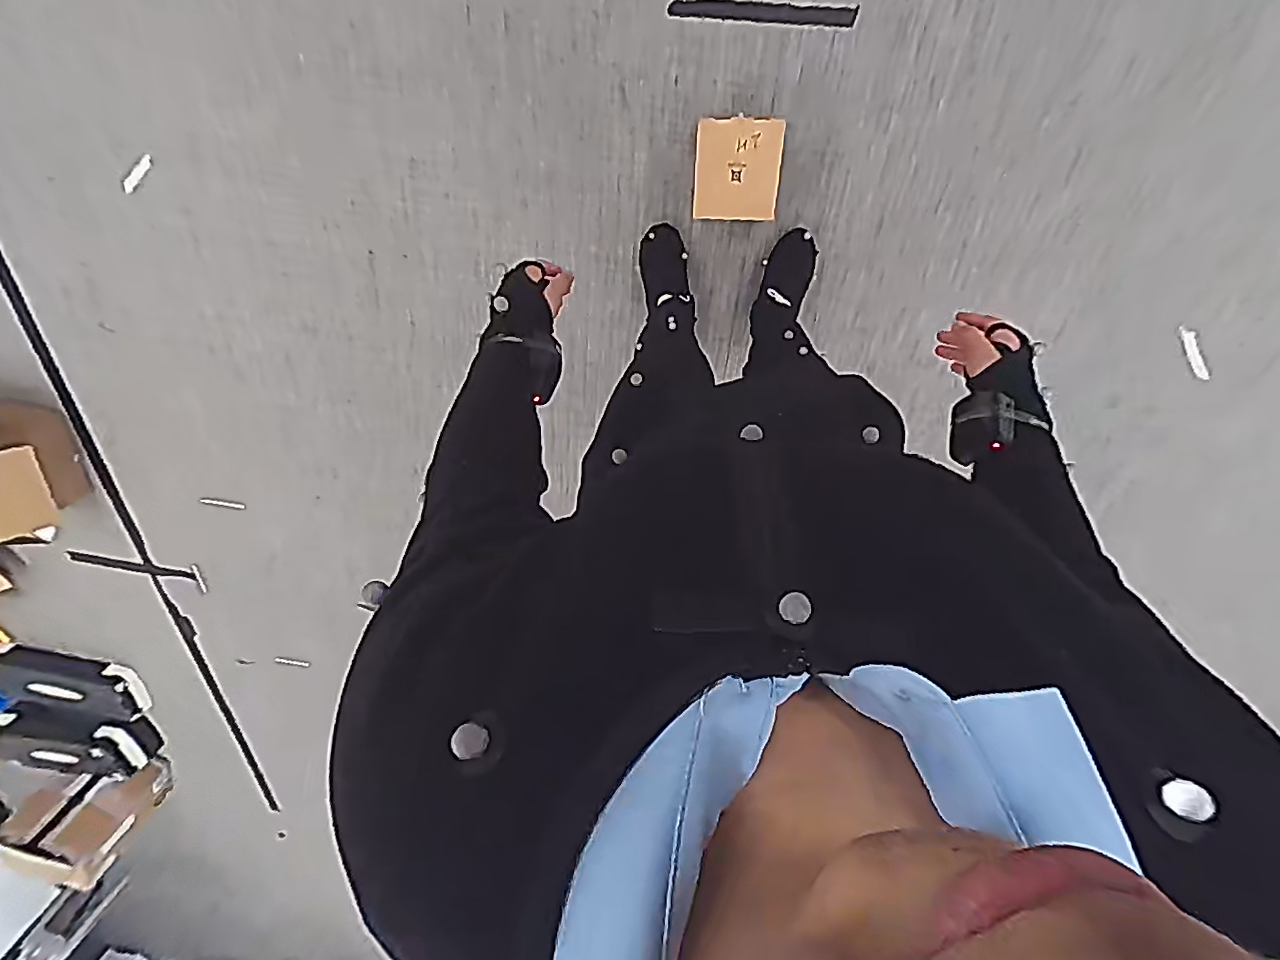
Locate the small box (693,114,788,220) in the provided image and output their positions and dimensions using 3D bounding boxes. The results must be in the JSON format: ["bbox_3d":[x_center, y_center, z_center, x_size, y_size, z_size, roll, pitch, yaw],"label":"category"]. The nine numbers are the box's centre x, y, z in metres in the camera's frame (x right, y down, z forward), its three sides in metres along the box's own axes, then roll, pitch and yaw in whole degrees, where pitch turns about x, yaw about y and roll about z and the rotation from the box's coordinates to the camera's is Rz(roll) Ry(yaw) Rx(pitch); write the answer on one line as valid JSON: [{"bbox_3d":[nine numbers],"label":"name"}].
[{"bbox_3d":[0.201,-0.644,1.115,0.168,0.176,0.179,4,121,5],"label":"small box"}]
